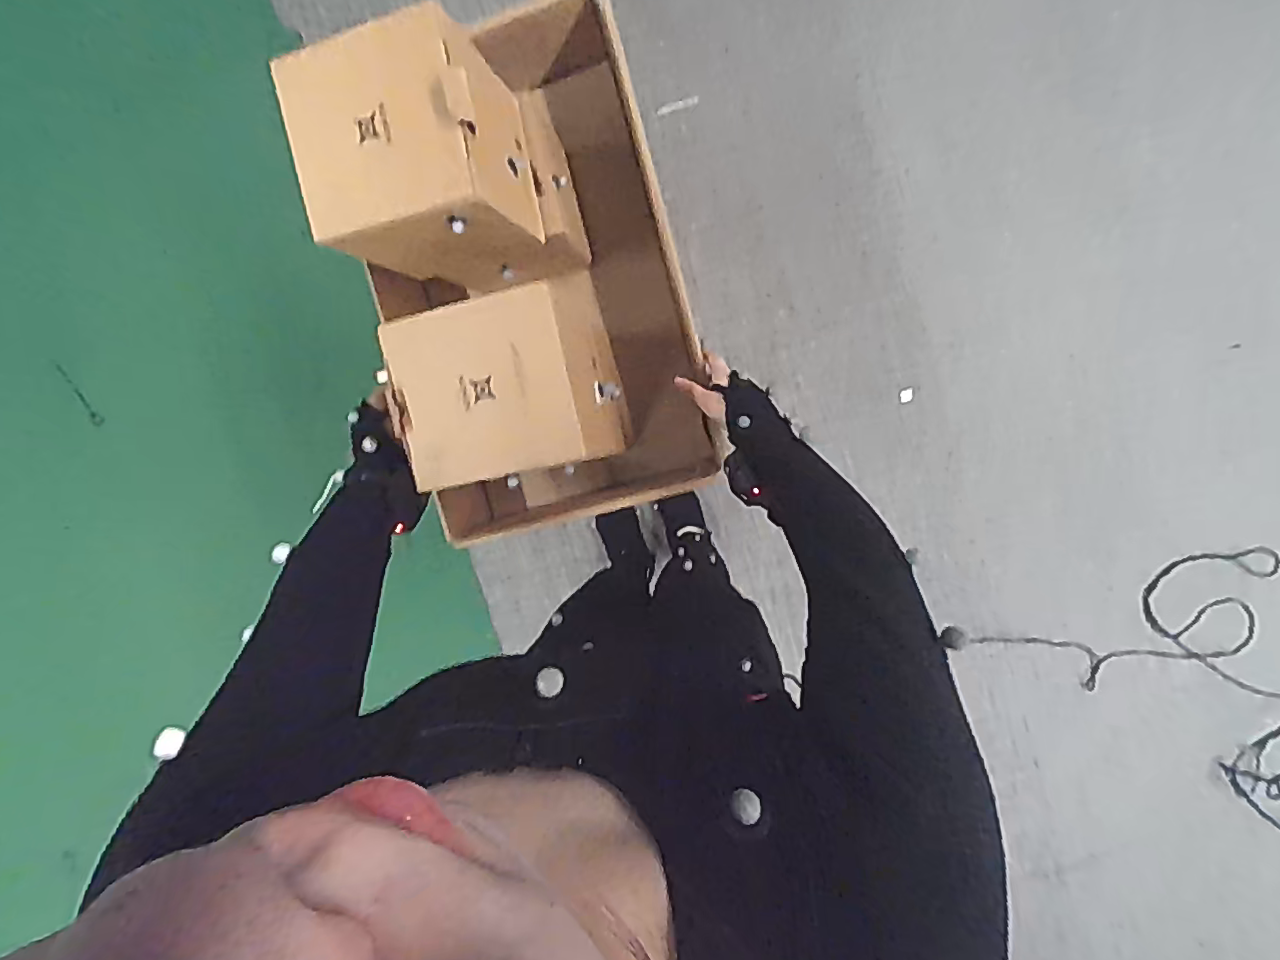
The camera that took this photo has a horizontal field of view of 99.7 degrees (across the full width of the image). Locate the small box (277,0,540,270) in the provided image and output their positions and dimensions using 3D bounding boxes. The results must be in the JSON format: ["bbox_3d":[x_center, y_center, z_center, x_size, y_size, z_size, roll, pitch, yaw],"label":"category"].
[{"bbox_3d":[-0.227,-0.337,0.571,0.179,0.176,0.168,-9,97,10],"label":"small box"}]

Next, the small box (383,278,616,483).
[{"bbox_3d":[-0.137,-0.100,0.592,0.179,0.176,0.168,-12,96,8],"label":"small box"}]
